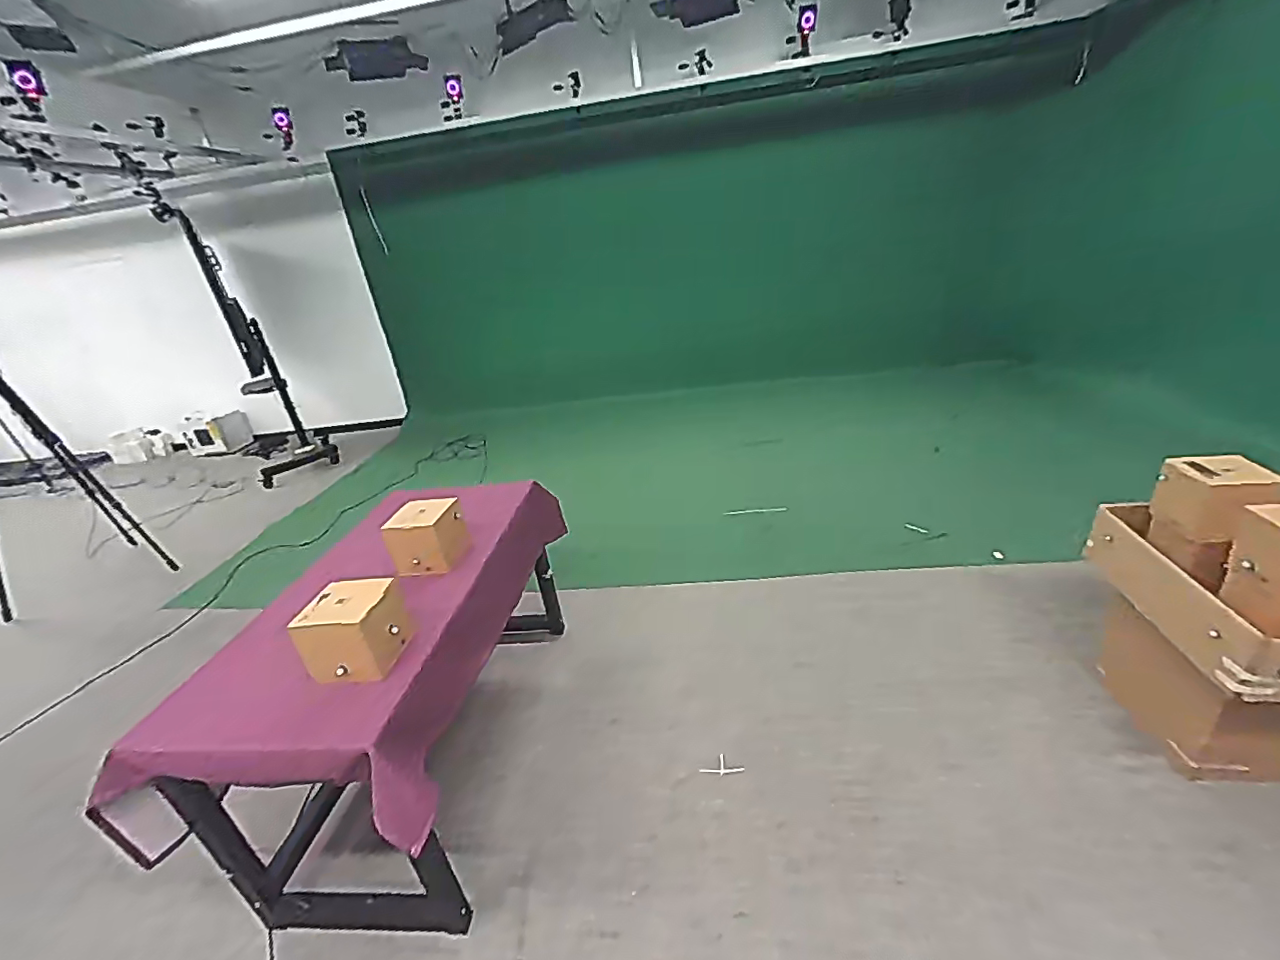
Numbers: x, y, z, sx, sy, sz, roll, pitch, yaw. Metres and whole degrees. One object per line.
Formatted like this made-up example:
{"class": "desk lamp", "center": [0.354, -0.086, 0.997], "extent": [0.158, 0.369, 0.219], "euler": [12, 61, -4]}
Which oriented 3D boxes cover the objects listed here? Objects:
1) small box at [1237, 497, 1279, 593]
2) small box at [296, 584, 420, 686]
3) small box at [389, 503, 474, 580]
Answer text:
{"class": "small box", "center": [1.507, 0.148, 1.200], "extent": [0.179, 0.176, 0.168], "euler": [-4, 24, 15]}
{"class": "small box", "center": [-0.656, 0.368, 1.285], "extent": [0.179, 0.176, 0.168], "euler": [-5, 24, 9]}
{"class": "small box", "center": [-0.631, 0.188, 1.666], "extent": [0.168, 0.176, 0.179], "euler": [-6, 25, 11]}
